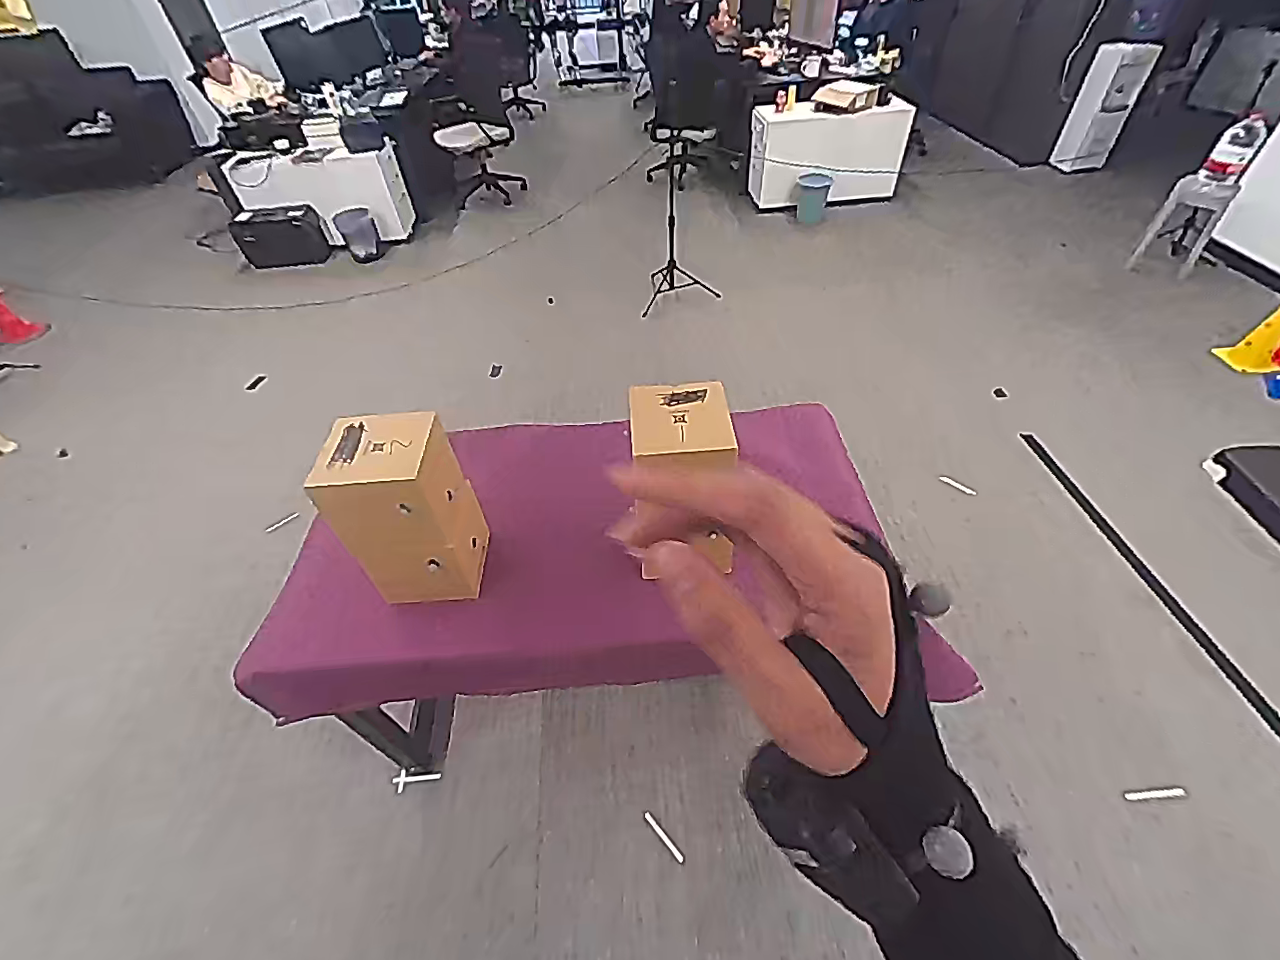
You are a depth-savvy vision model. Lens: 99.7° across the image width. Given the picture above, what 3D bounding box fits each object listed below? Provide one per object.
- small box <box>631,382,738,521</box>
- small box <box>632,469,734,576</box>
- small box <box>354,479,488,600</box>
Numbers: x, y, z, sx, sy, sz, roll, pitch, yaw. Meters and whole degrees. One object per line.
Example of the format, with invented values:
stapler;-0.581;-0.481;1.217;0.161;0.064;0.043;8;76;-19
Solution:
small box;0.070;-0.049;0.943;0.168;0.176;0.179;-4;47;0
small box;0.080;0.073;1.053;0.179;0.176;0.168;-4;46;0
small box;-0.406;0.116;1.043;0.179;0.176;0.168;-3;46;1
